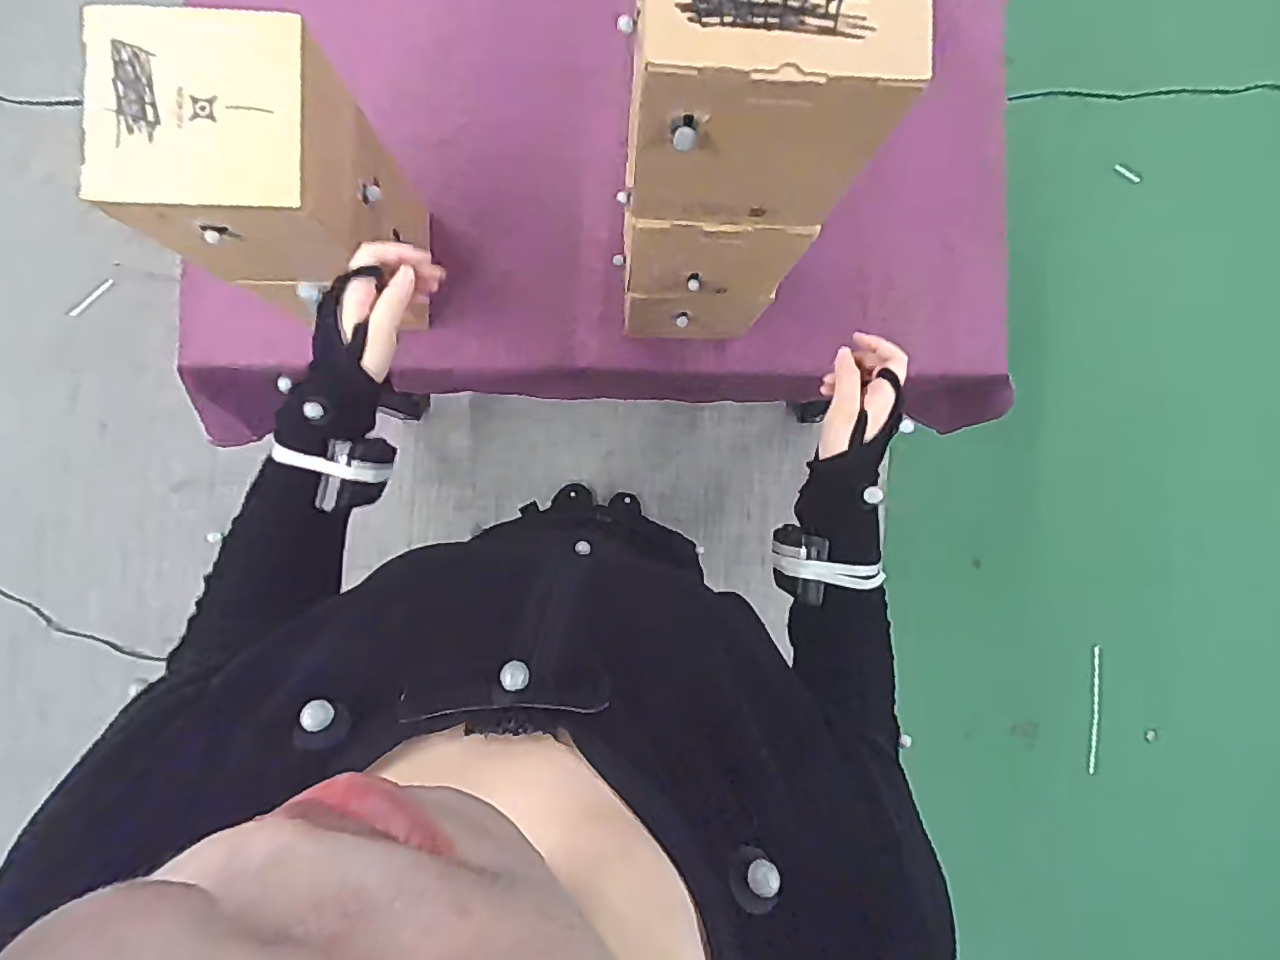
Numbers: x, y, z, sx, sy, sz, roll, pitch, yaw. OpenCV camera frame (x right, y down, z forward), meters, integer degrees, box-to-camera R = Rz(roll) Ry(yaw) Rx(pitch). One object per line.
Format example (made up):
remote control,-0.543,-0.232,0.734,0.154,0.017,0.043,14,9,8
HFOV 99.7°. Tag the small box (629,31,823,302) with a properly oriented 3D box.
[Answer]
small box,0.074,-0.301,0.553,0.168,0.176,0.179,1,89,-3

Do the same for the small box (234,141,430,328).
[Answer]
small box,-0.378,-0.304,0.693,0.168,0.176,0.179,1,88,-4

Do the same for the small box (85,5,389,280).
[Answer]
small box,-0.371,-0.307,0.528,0.179,0.176,0.168,0,89,-4

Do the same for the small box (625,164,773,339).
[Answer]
small box,0.068,-0.290,0.716,0.179,0.176,0.168,0,89,-2
